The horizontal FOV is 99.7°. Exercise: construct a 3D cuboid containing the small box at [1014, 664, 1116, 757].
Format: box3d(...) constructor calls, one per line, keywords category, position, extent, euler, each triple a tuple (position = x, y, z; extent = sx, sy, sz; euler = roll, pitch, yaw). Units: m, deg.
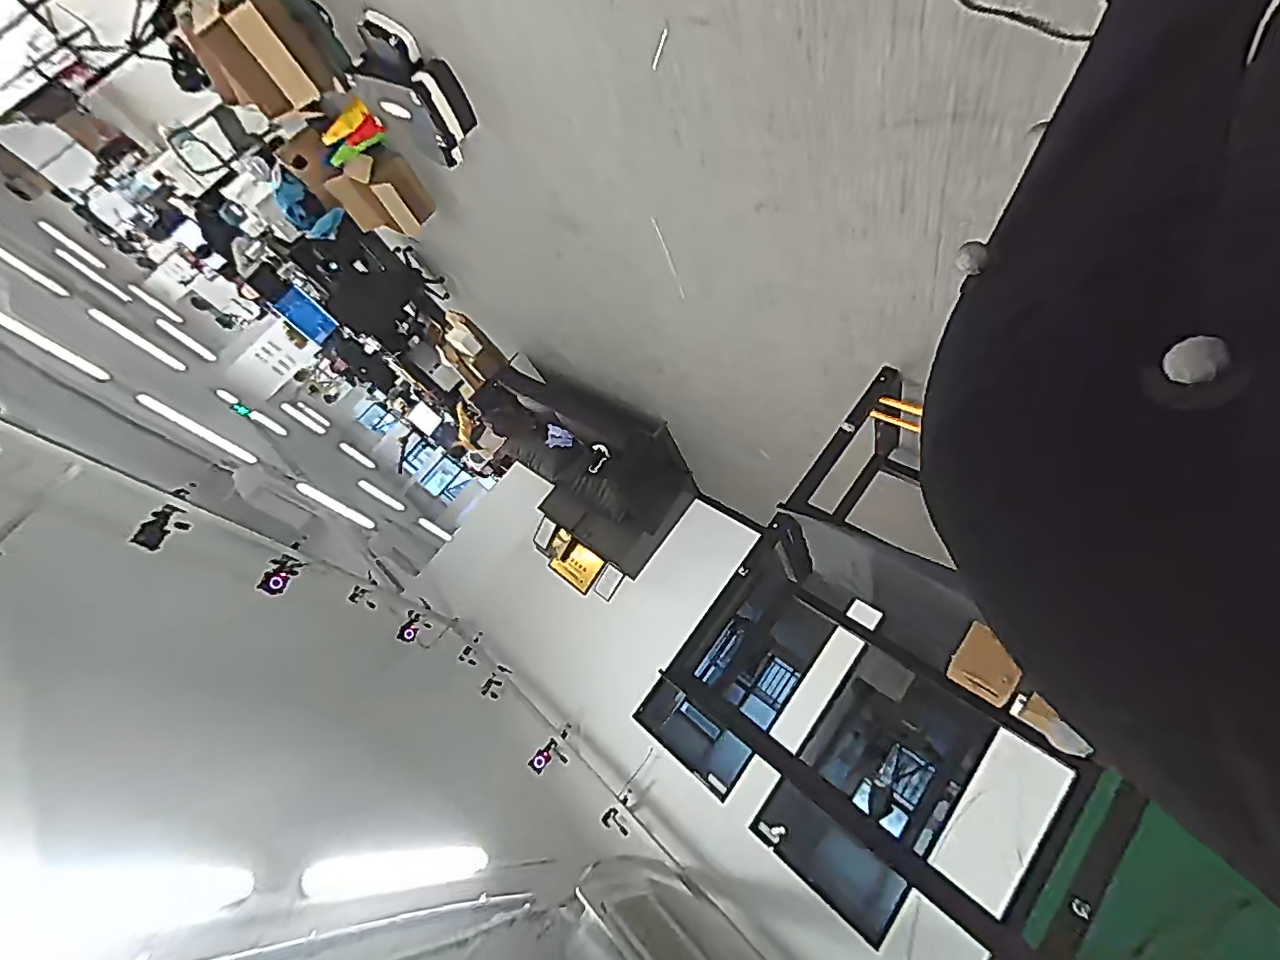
box3d(category="small box", position=(1.212, 0.657, 1.546), extent=(0.168, 0.176, 0.179), euler=(29, 165, 36))
